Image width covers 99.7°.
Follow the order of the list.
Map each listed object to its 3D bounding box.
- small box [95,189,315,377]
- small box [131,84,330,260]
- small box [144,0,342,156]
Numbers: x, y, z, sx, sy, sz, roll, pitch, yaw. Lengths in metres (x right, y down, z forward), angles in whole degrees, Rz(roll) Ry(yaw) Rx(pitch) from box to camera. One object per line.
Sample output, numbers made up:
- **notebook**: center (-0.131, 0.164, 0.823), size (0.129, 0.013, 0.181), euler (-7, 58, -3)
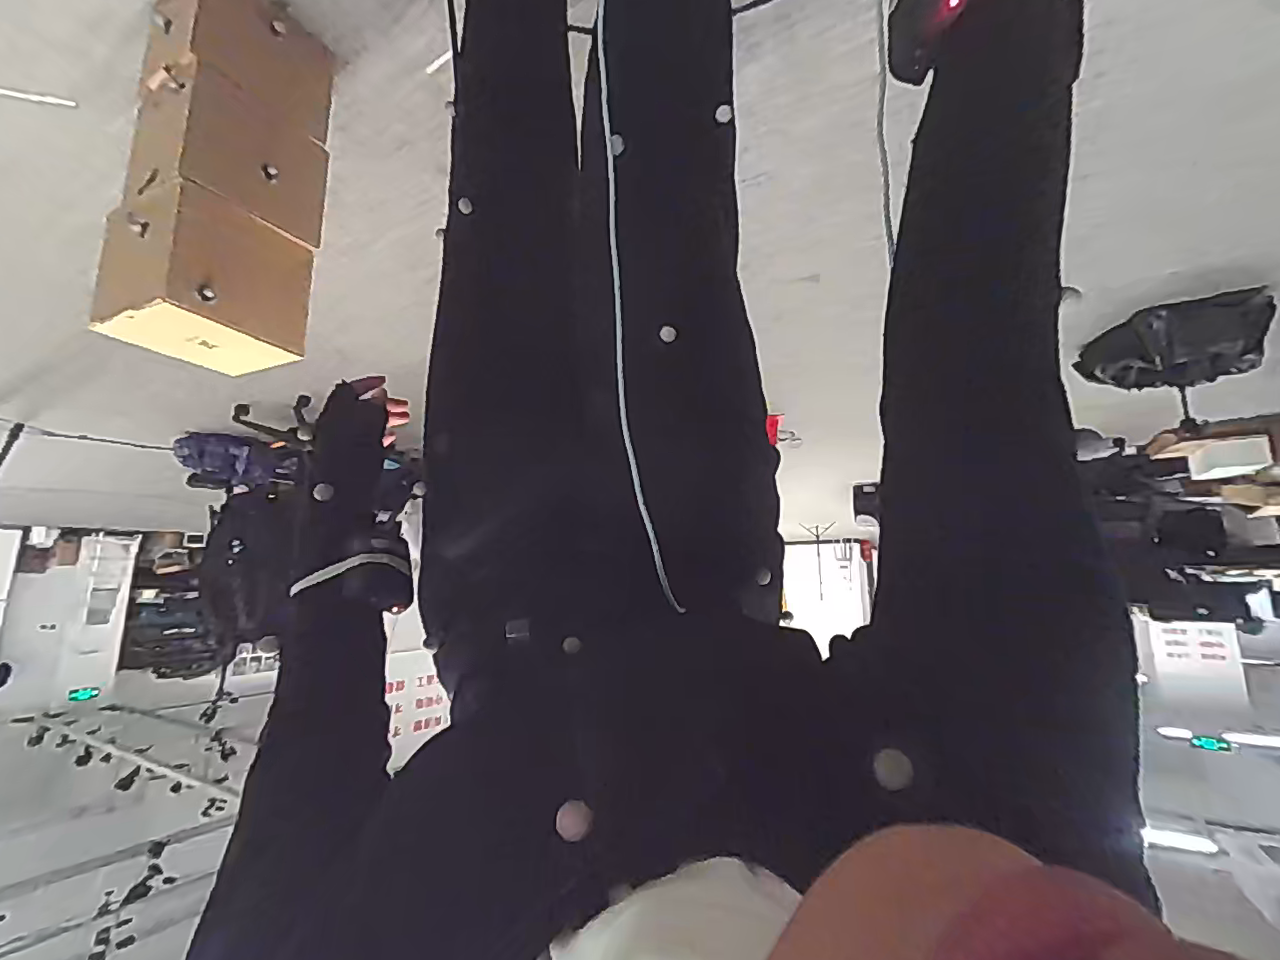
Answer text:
- **small box**: center (-0.587, -0.261, 0.750), size (0.168, 0.176, 0.179), euler (-5, 168, 22)
- **small box**: center (-0.581, -0.421, 0.778), size (0.168, 0.176, 0.179), euler (-6, 169, 27)
- **small box**: center (-0.580, -0.586, 0.804), size (0.168, 0.176, 0.179), euler (-3, 167, 31)
